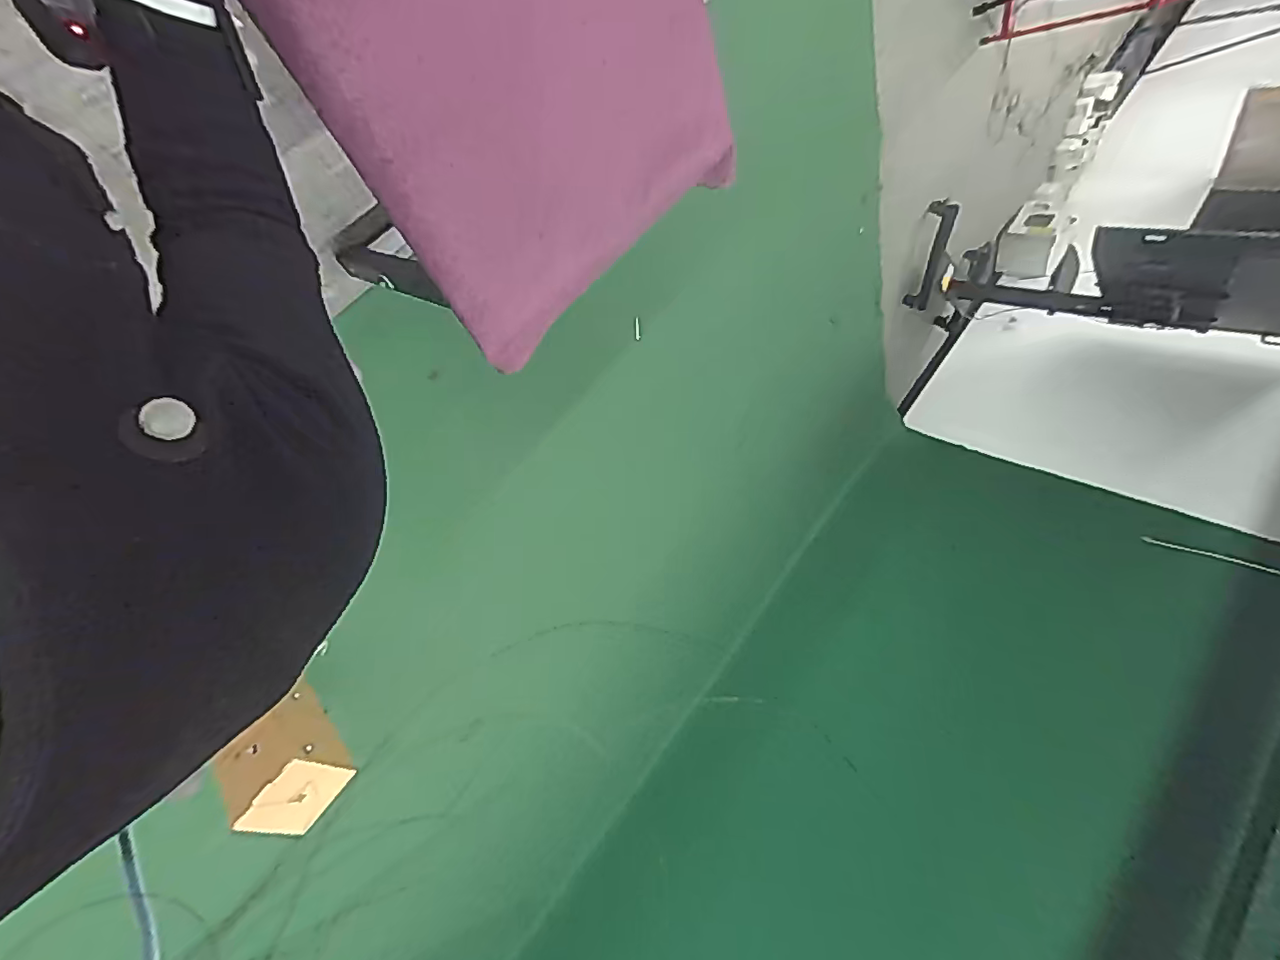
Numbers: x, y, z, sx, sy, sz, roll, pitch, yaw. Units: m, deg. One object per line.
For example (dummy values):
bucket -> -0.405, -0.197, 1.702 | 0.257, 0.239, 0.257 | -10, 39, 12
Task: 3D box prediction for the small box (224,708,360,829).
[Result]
small box -> -0.781, 0.643, 1.214 | 0.168, 0.176, 0.179 | -50, 140, -14
